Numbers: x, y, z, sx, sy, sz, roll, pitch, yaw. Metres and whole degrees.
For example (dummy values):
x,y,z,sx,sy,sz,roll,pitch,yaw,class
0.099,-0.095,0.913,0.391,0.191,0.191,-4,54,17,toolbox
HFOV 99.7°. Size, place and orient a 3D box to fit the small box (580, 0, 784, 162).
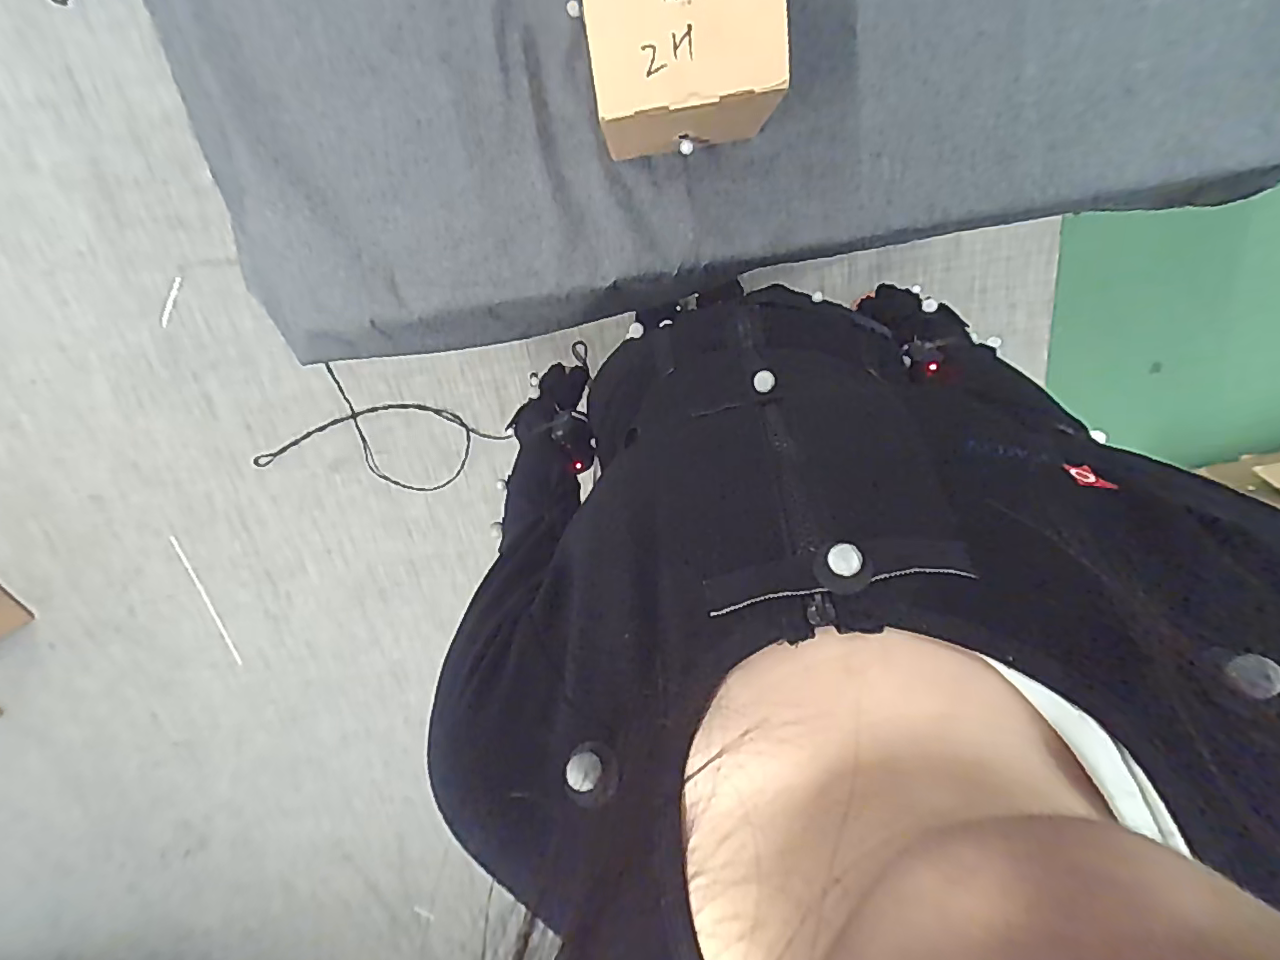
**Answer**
x,y,z,sx,sy,sz,roll,pitch,yaw,class
0.032,-0.427,0.511,0.168,0.176,0.179,-8,110,4,small box
